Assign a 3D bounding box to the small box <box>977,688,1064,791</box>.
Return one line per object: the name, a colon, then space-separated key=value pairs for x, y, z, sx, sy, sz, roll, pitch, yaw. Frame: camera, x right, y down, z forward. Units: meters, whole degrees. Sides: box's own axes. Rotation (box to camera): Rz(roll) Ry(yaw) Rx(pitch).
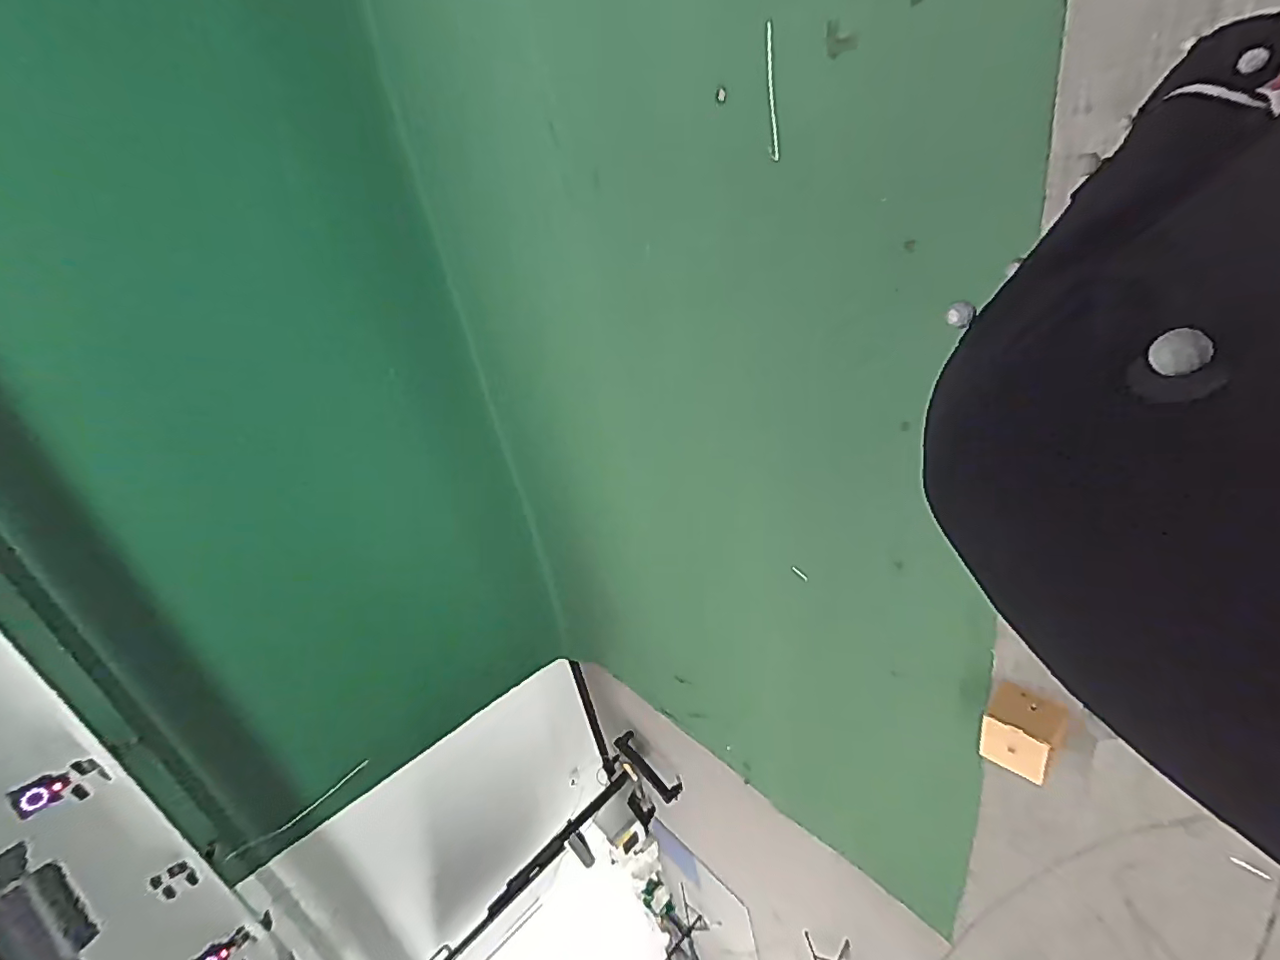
small box: x=1.132 y=0.764 z=1.610 sx=0.168 sy=0.176 sz=0.179 roll=17 pitch=126 yaw=47
